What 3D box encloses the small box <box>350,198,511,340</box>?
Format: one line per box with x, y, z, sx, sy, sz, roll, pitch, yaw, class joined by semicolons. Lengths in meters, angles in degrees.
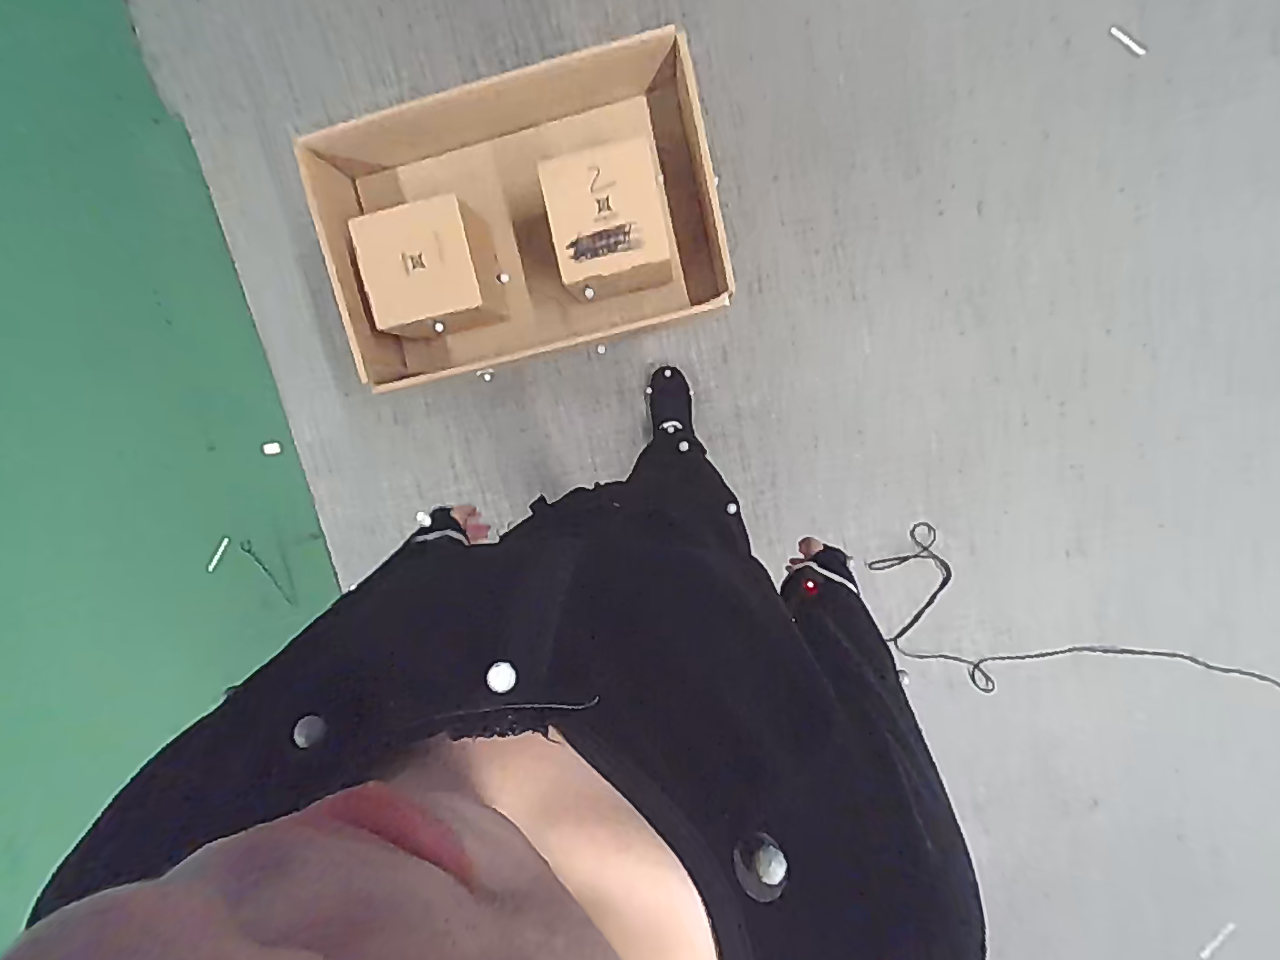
-0.334;-0.335;0.894;0.179;0.176;0.168;-10;98;5;small box
